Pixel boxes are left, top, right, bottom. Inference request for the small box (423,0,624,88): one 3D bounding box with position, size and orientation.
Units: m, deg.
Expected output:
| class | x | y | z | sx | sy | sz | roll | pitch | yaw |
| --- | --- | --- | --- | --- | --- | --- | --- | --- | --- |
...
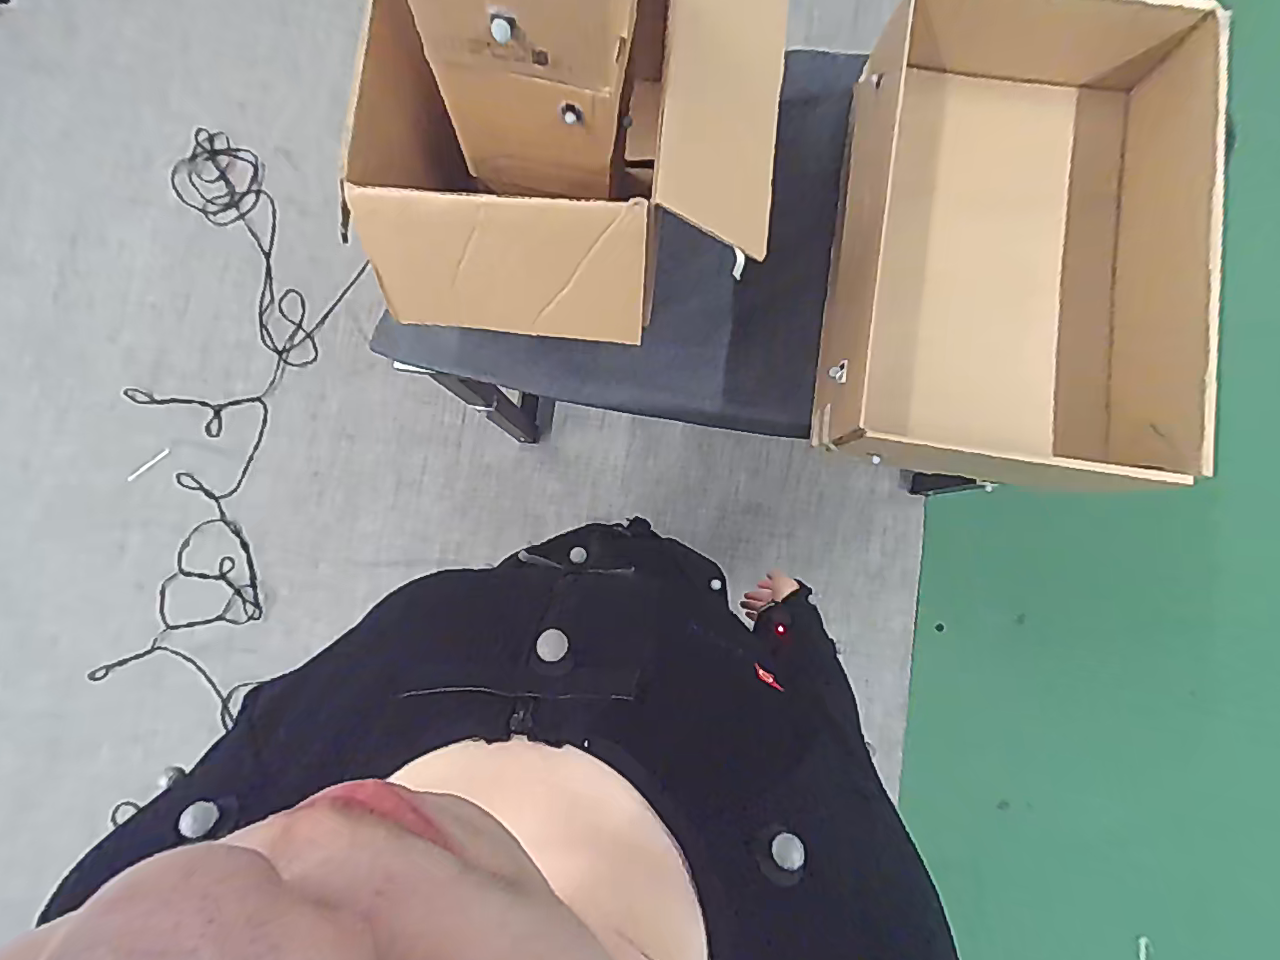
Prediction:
| class | x | y | z | sx | sy | sz | roll | pitch | yaw |
| --- | --- | --- | --- | --- | --- | --- | --- | --- | --- |
| small box | -0.091 | -0.464 | 0.425 | 0.168 | 0.176 | 0.179 | 7 | 83 | -4 |
